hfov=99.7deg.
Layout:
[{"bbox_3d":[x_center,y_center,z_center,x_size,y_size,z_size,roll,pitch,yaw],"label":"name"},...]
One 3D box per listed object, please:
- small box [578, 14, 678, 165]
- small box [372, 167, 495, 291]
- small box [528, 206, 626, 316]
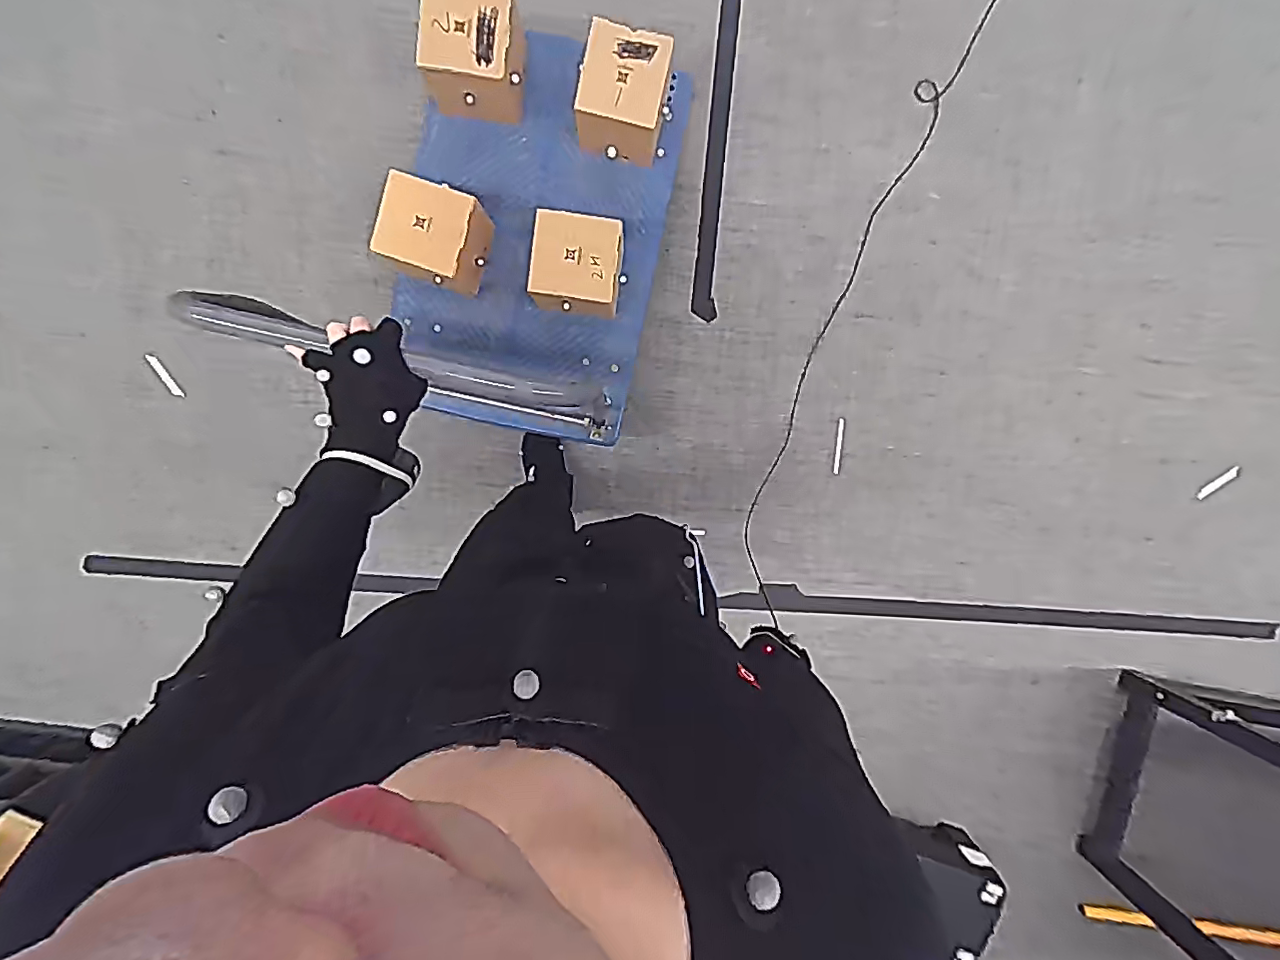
[{"bbox_3d":[-0.027,-0.806,1.134,0.168,0.176,0.179,14,96,-2],"label":"small box"},{"bbox_3d":[-0.431,-0.523,1.154,0.179,0.176,0.168,17,94,-4],"label":"small box"},{"bbox_3d":[-0.129,-0.461,1.165,0.179,0.176,0.168,8,95,-2],"label":"small box"}]
